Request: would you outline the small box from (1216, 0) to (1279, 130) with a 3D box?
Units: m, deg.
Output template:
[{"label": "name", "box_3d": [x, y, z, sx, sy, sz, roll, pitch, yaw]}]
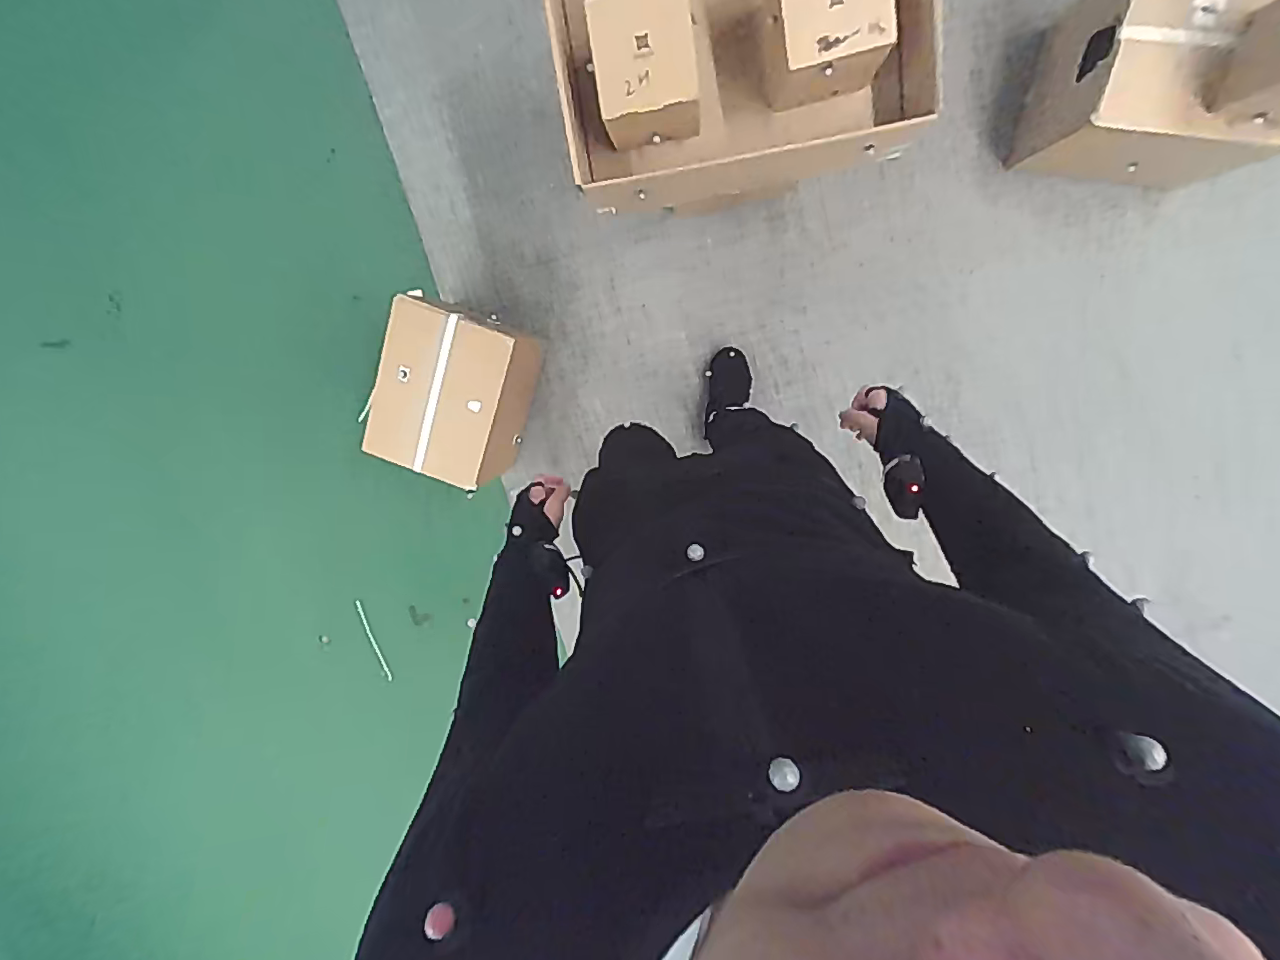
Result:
[{"label": "small box", "box_3d": [1.173, -0.739, 0.926, 0.168, 0.176, 0.179, 15, 108, 2]}]

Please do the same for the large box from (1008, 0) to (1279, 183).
[{"label": "large box", "box_3d": [1.115, -0.854, 1.155, 0.408, 0.320, 0.320, 9, 105, 4]}]
